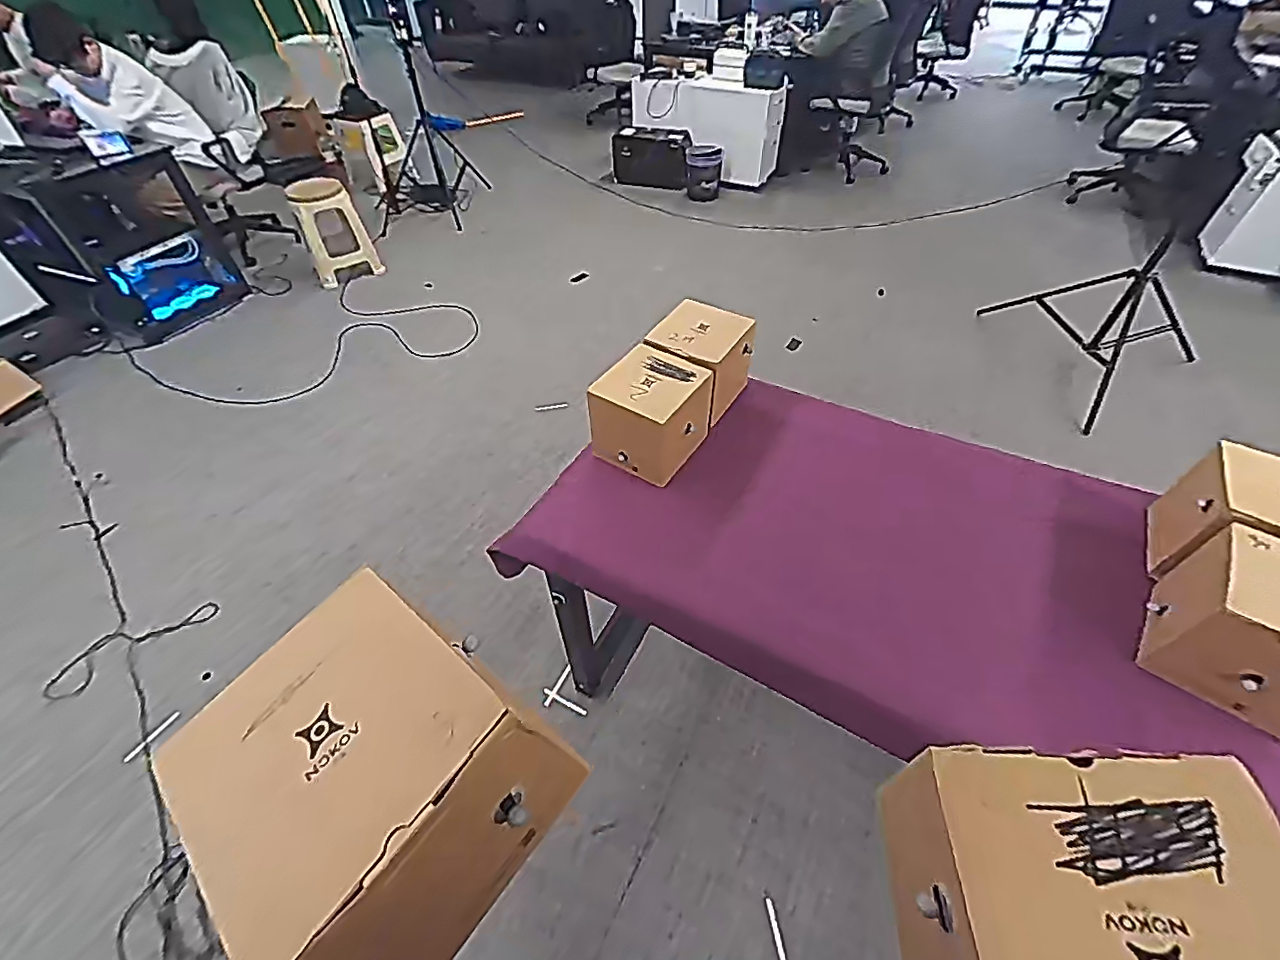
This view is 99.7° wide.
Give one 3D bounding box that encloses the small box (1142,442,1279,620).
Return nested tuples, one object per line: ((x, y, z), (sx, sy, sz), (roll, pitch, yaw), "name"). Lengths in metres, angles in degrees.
((0.925, 0.078, 0.834), (0.168, 0.176, 0.179), (25, 52, 21), "small box")

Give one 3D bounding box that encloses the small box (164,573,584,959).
((-0.167, 0.205, 0.385), (0.179, 0.176, 0.168), (26, 62, 32), "small box")

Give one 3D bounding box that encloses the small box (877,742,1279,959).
((0.258, 0.275, 0.327), (0.168, 0.176, 0.179), (-2, 52, 8), "small box")

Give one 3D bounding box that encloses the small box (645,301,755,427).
((0.122, -0.244, 1.141), (0.168, 0.176, 0.179), (25, 54, 22), "small box")
